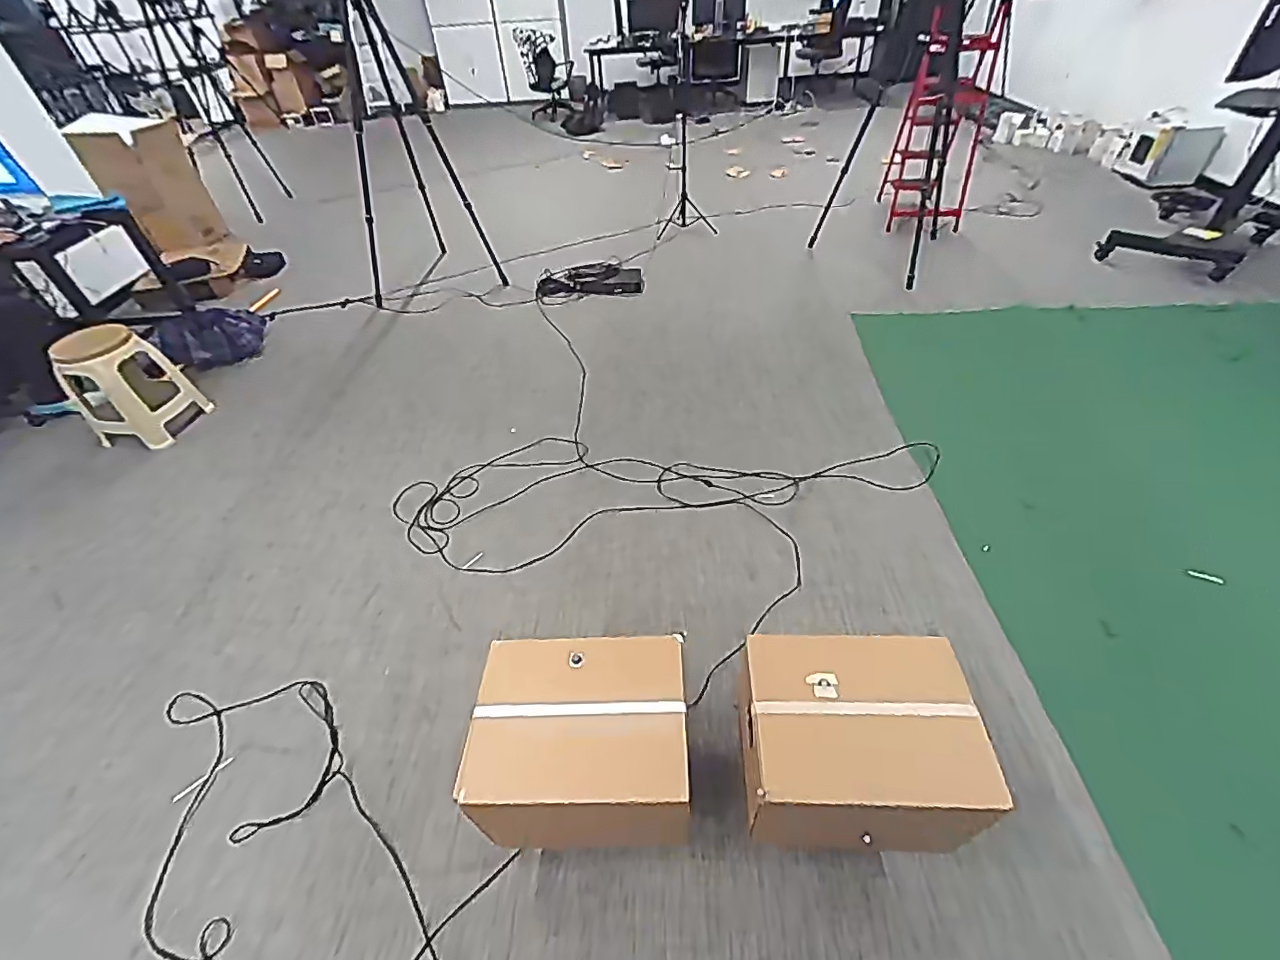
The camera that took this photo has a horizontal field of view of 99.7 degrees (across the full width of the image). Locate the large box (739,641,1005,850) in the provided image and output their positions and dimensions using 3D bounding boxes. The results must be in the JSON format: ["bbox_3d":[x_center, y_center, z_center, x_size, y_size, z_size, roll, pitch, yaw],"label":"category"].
[{"bbox_3d":[0.425,0.548,1.114,0.408,0.320,0.320,-1,44,5],"label":"large box"}]
